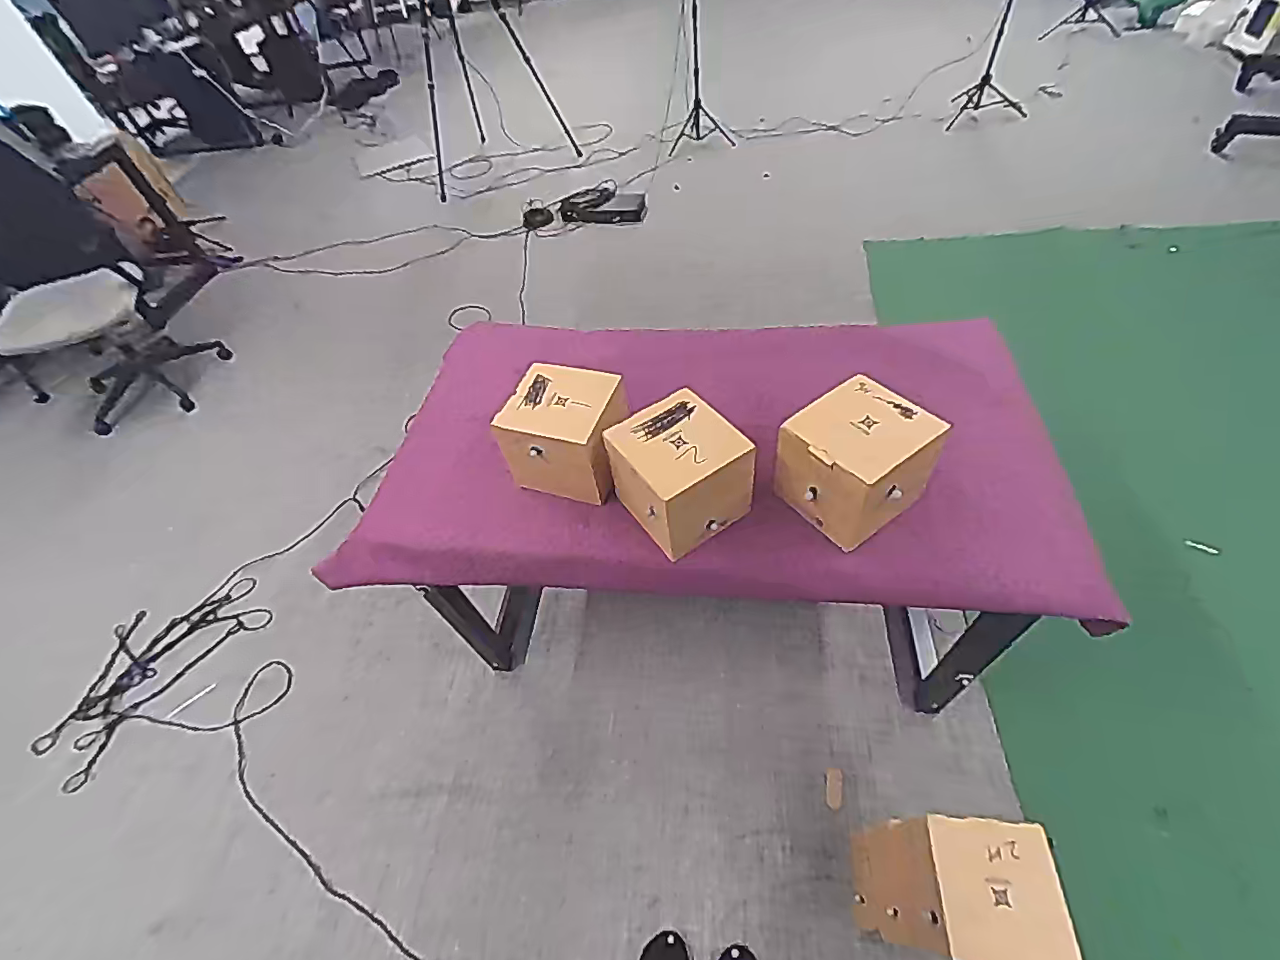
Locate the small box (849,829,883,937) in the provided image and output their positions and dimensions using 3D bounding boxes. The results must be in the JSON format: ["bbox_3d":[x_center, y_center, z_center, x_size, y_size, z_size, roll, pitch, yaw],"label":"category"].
[{"bbox_3d":[0.527,0.823,1.089,0.179,0.176,0.168,3,52,10],"label":"small box"}]

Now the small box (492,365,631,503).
[{"bbox_3d":[-0.129,-0.080,0.969,0.179,0.176,0.168,12,54,16],"label":"small box"}]

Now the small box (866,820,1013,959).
[{"bbox_3d":[0.514,0.724,0.962,0.168,0.176,0.179,0,53,8],"label":"small box"}]

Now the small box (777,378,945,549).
[{"bbox_3d":[0.335,-0.023,0.856,0.179,0.176,0.168,-32,53,-17],"label":"small box"}]
